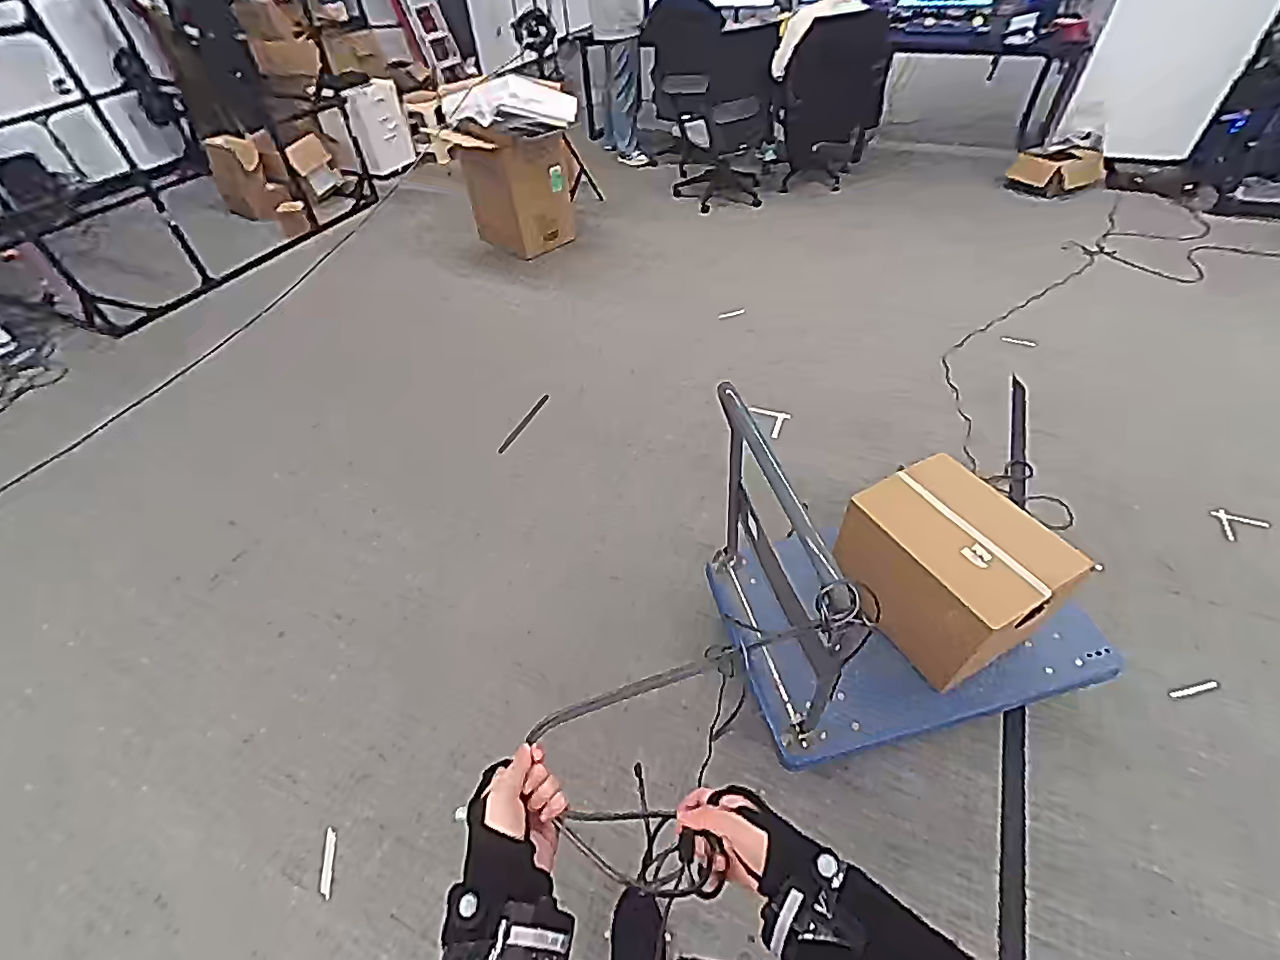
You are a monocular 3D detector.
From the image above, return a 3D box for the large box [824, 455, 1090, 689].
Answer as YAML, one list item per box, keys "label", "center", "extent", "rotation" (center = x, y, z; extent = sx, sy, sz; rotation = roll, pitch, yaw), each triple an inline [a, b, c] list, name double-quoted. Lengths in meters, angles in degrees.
- label: "large box"
  center: [0.727, 0.215, 1.319]
  extent: [0.320, 0.320, 0.408]
  rotation: [-23, 50, -16]
